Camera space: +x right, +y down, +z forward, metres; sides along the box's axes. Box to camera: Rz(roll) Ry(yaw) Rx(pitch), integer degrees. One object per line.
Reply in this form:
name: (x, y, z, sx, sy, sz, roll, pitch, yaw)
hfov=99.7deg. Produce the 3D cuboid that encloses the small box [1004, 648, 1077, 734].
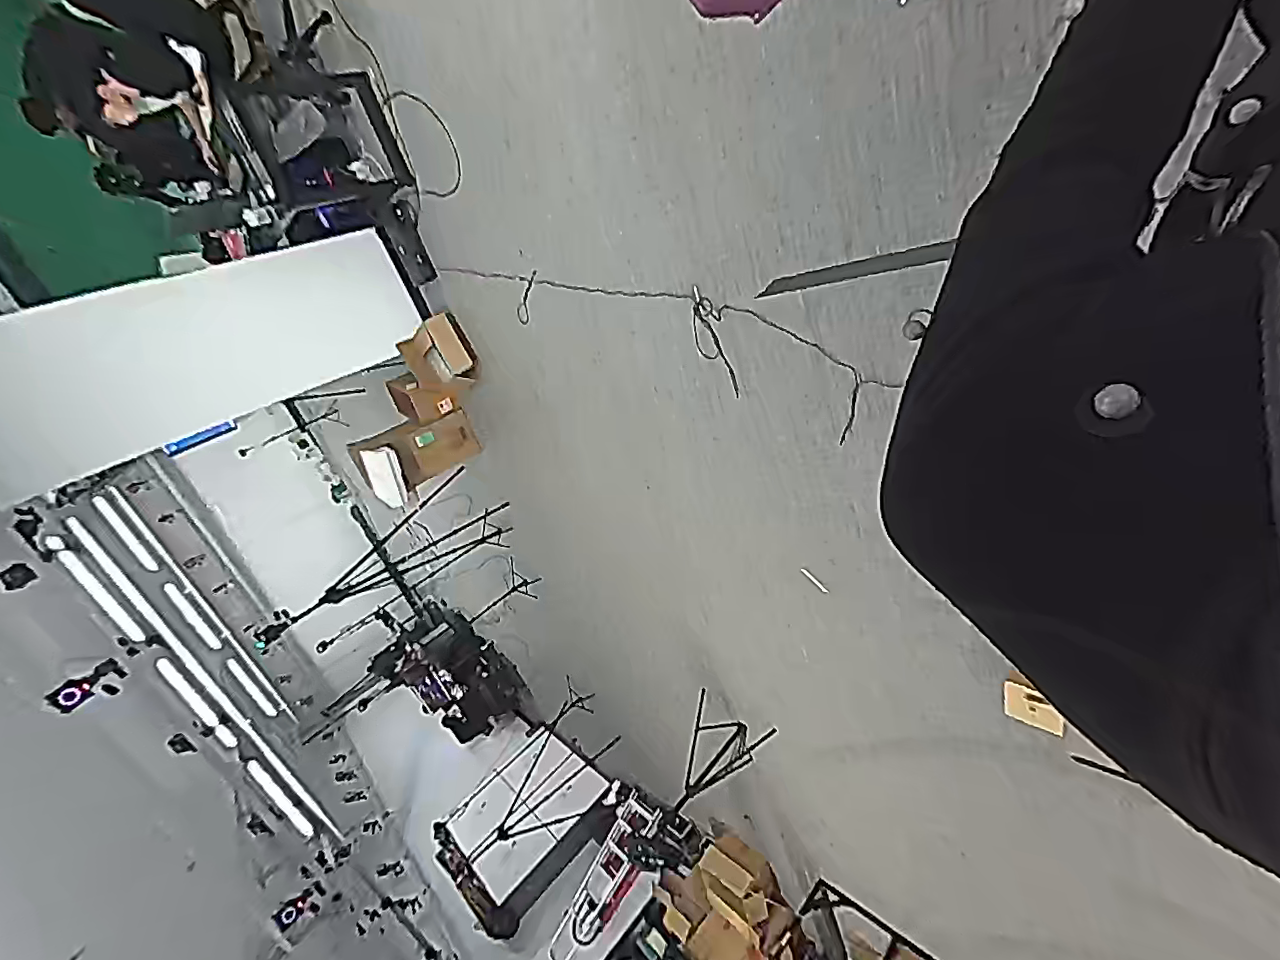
small box: (1.345, 0.698, 1.815, 0.168, 0.176, 0.179, 12, 130, 48)
